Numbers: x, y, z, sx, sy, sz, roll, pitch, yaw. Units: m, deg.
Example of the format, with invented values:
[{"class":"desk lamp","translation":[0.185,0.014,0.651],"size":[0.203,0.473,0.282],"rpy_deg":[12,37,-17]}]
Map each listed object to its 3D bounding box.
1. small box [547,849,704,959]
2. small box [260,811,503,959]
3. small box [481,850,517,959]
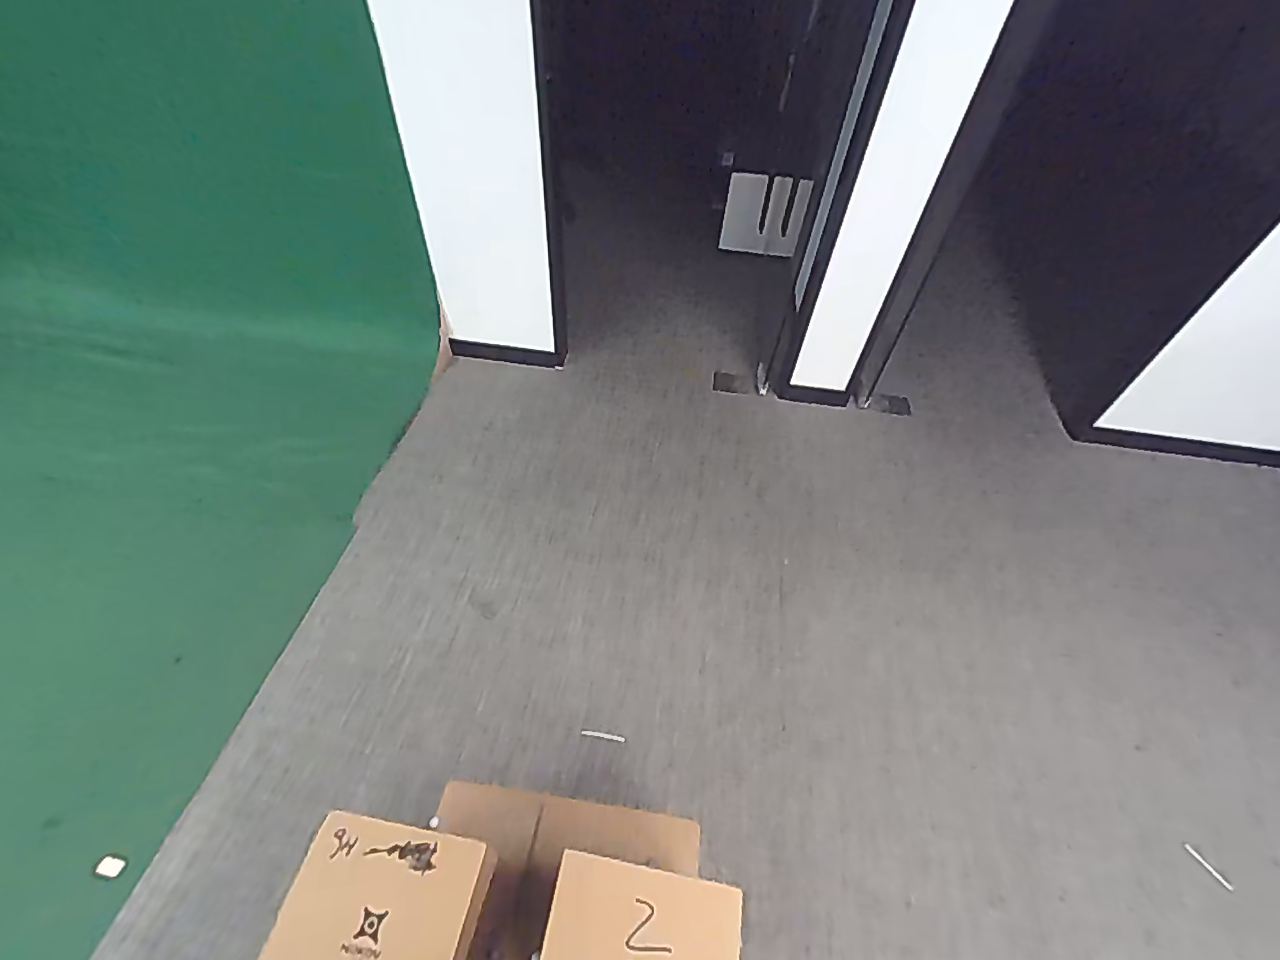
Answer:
[{"class":"small box","translation":[-0.022,0.588,0.664],"size":[0.168,0.176,0.179],"rpy_deg":[10,48,6]},{"class":"small box","translation":[-0.249,0.461,0.543],"size":[0.168,0.176,0.179],"rpy_deg":[10,51,4]},{"class":"small box","translation":[-0.258,0.564,0.671],"size":[0.168,0.176,0.179],"rpy_deg":[9,50,3]}]
